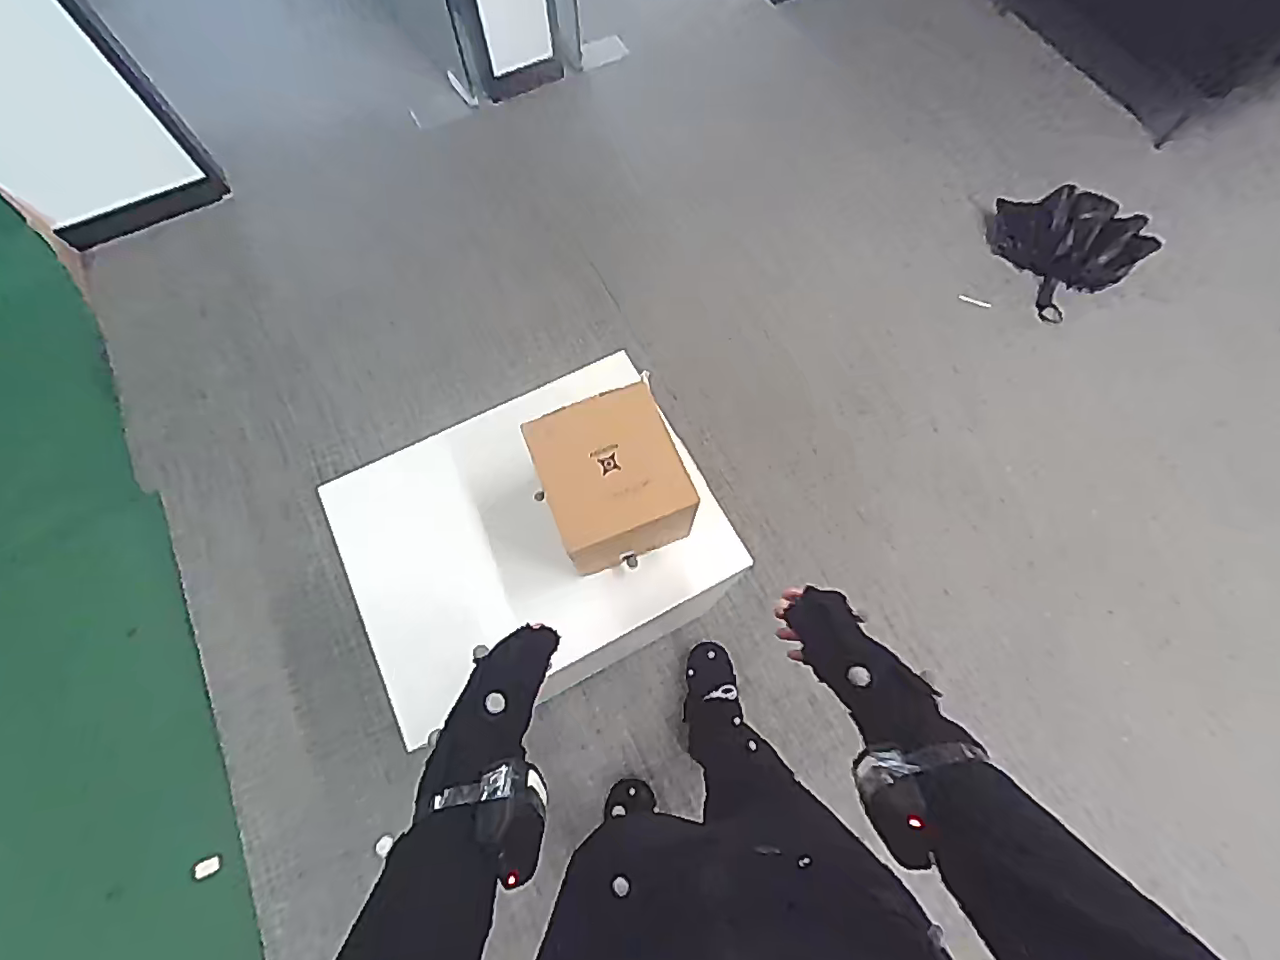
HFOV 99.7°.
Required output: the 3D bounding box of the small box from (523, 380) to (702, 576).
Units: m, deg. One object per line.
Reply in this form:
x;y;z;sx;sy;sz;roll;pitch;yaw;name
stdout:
-0.035;0.006;0.705;0.168;0.176;0.179;-22;71;-7;small box
